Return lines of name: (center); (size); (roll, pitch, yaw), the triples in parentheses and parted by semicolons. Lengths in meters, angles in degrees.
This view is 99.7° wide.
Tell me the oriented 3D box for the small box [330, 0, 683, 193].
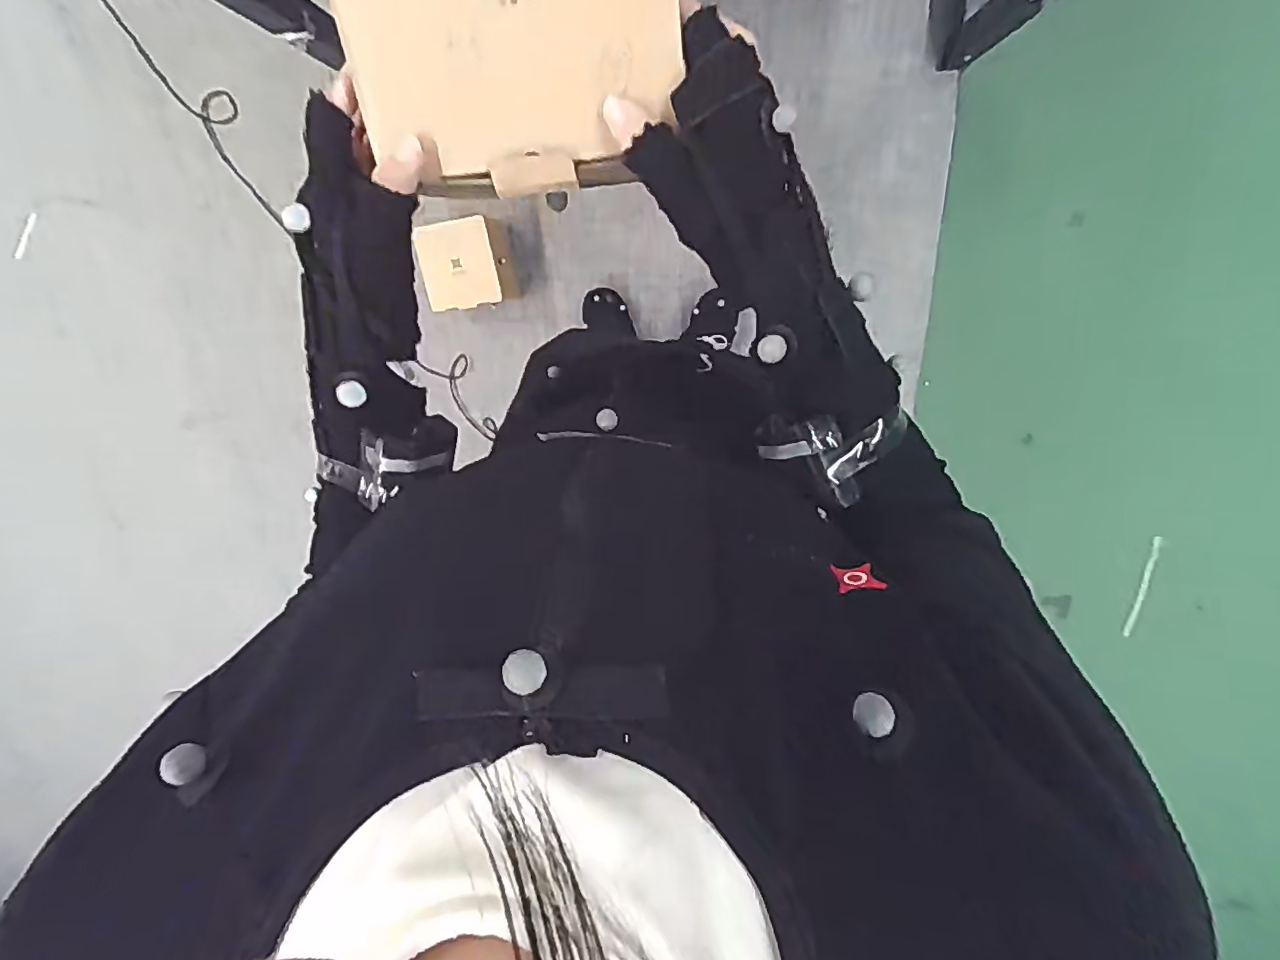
small box: (-0.066, -0.279, 0.322); (0.168, 0.176, 0.179); (-8, 115, 5)
